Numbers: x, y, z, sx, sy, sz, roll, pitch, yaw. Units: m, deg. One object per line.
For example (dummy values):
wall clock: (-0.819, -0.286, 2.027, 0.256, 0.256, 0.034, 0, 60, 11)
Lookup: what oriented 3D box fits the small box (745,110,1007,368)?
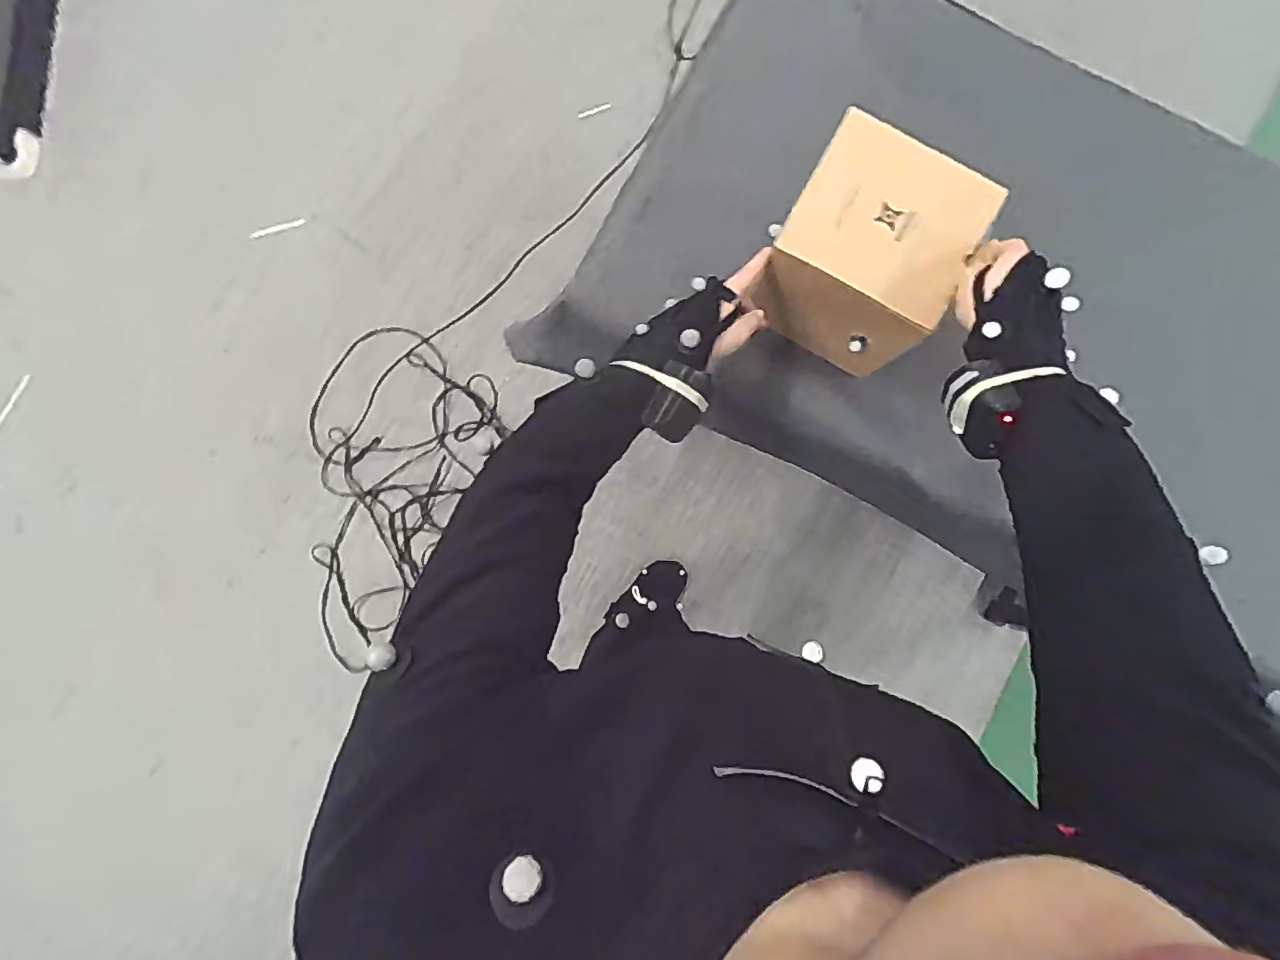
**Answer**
small box: (0.240, -0.243, 0.595, 0.179, 0.176, 0.168, 29, 85, 3)
